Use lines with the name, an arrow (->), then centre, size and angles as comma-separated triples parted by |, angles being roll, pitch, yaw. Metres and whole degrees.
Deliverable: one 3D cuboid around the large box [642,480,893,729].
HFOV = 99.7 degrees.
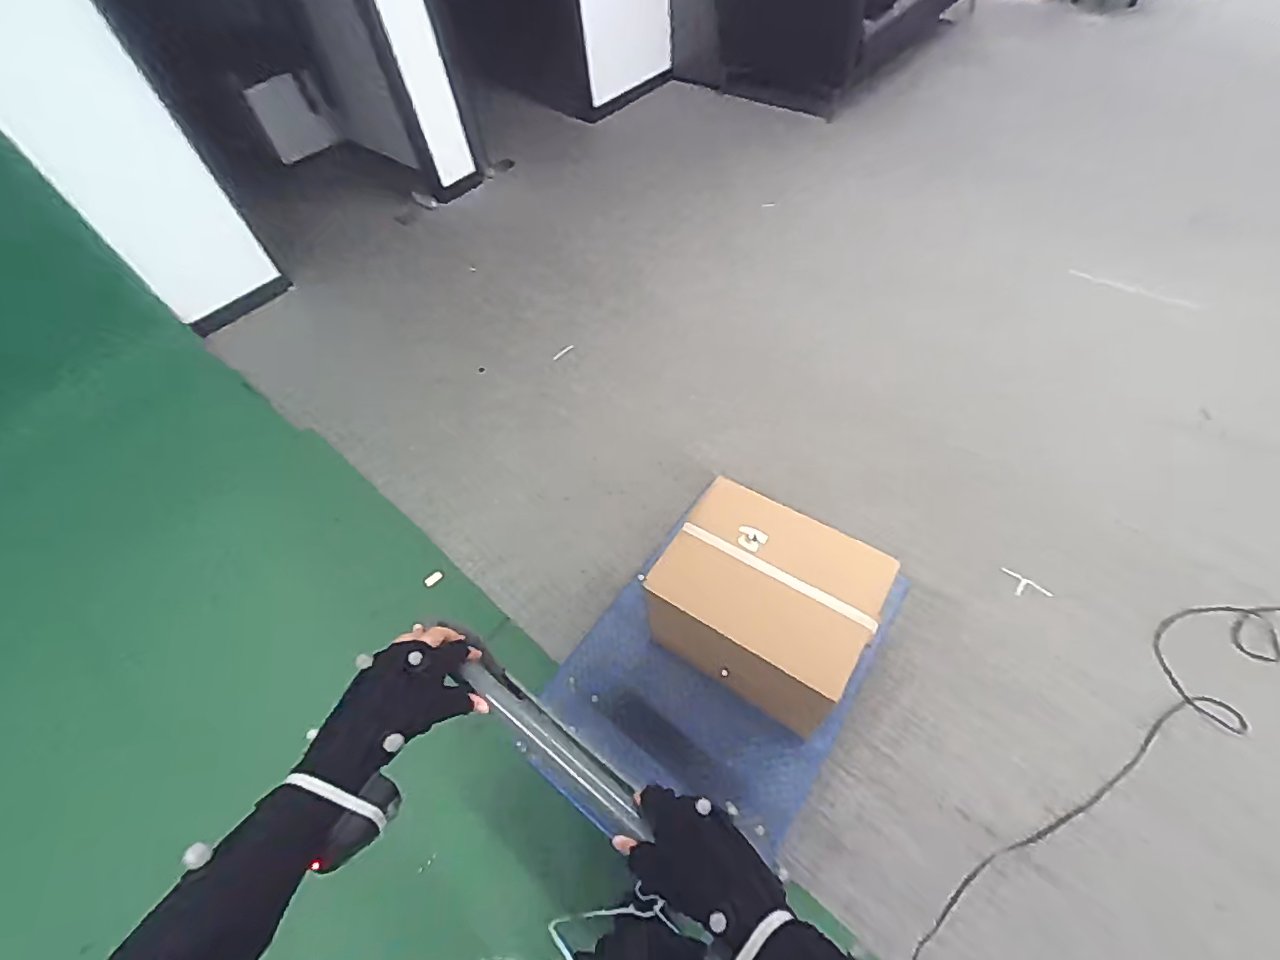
large box -> 0.264, 0.269, 1.176 | 0.408, 0.320, 0.320 | 26, 60, 23
